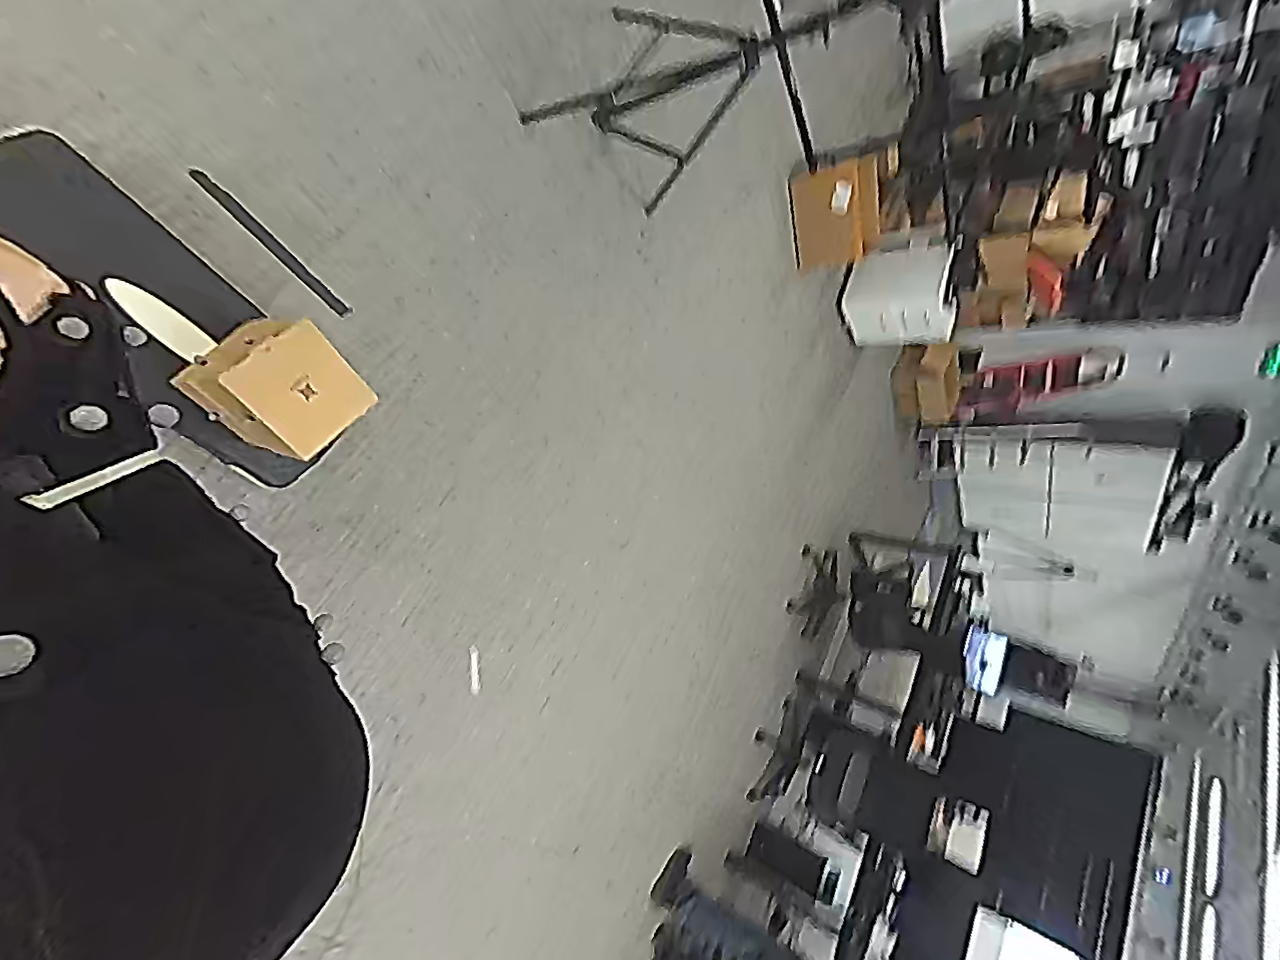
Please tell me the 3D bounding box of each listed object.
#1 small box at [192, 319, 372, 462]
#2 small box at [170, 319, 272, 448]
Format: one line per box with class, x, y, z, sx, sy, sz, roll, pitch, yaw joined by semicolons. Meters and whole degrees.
small box;-0.613;-0.155;0.930;0.168;0.176;0.179;-53;132;-28
small box;-0.742;-0.182;1.027;0.179;0.176;0.168;-56;135;-27
